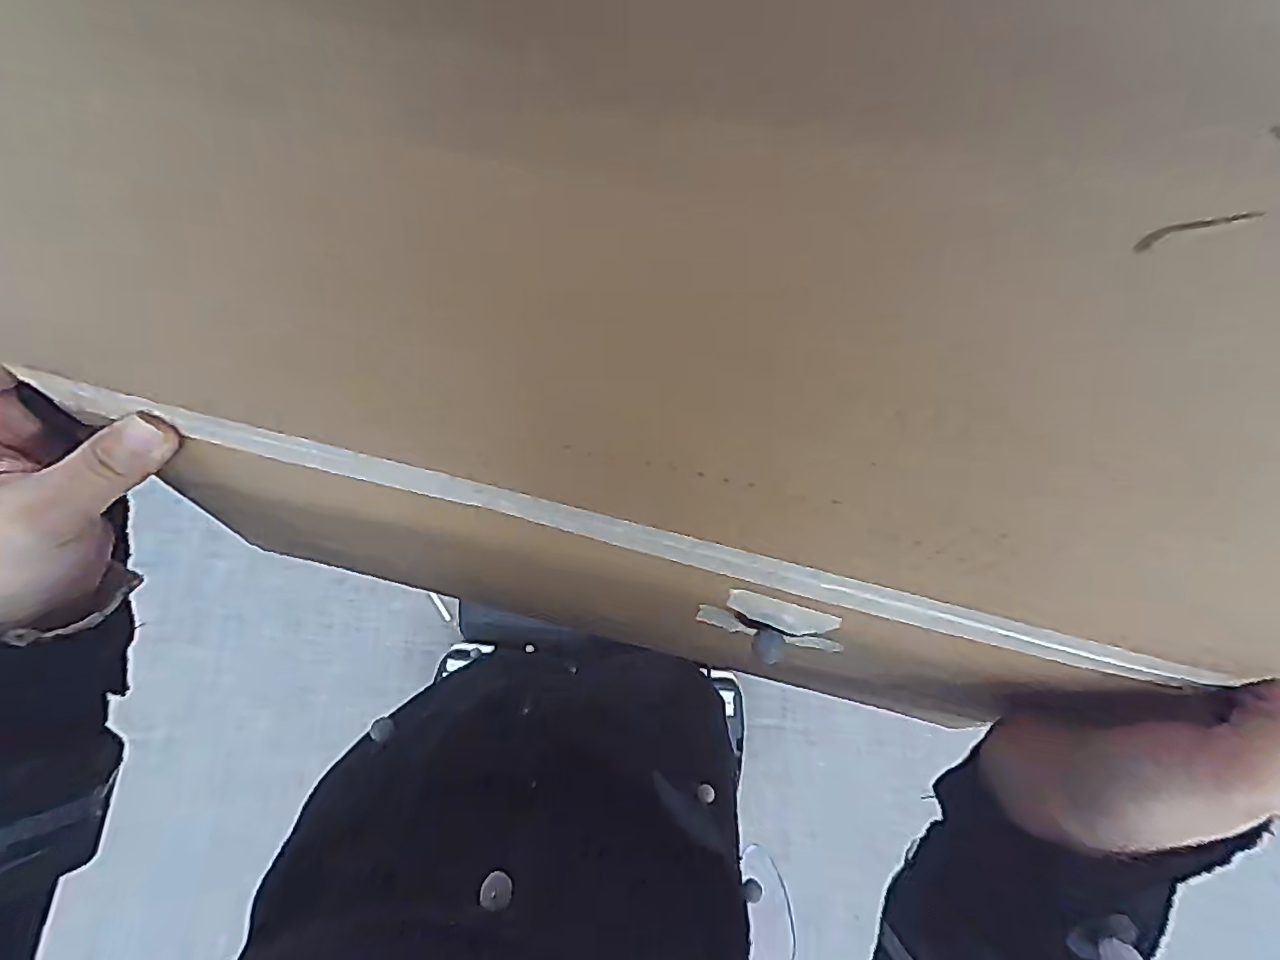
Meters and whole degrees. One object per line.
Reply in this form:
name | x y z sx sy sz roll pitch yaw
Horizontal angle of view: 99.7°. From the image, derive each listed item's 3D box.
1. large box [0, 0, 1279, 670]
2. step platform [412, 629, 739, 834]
large box | 0.040 -0.143 0.243 0.408 0.320 0.320 13 61 1
step platform | -0.129 0.537 1.189 0.684 0.204 0.286 12 80 0
